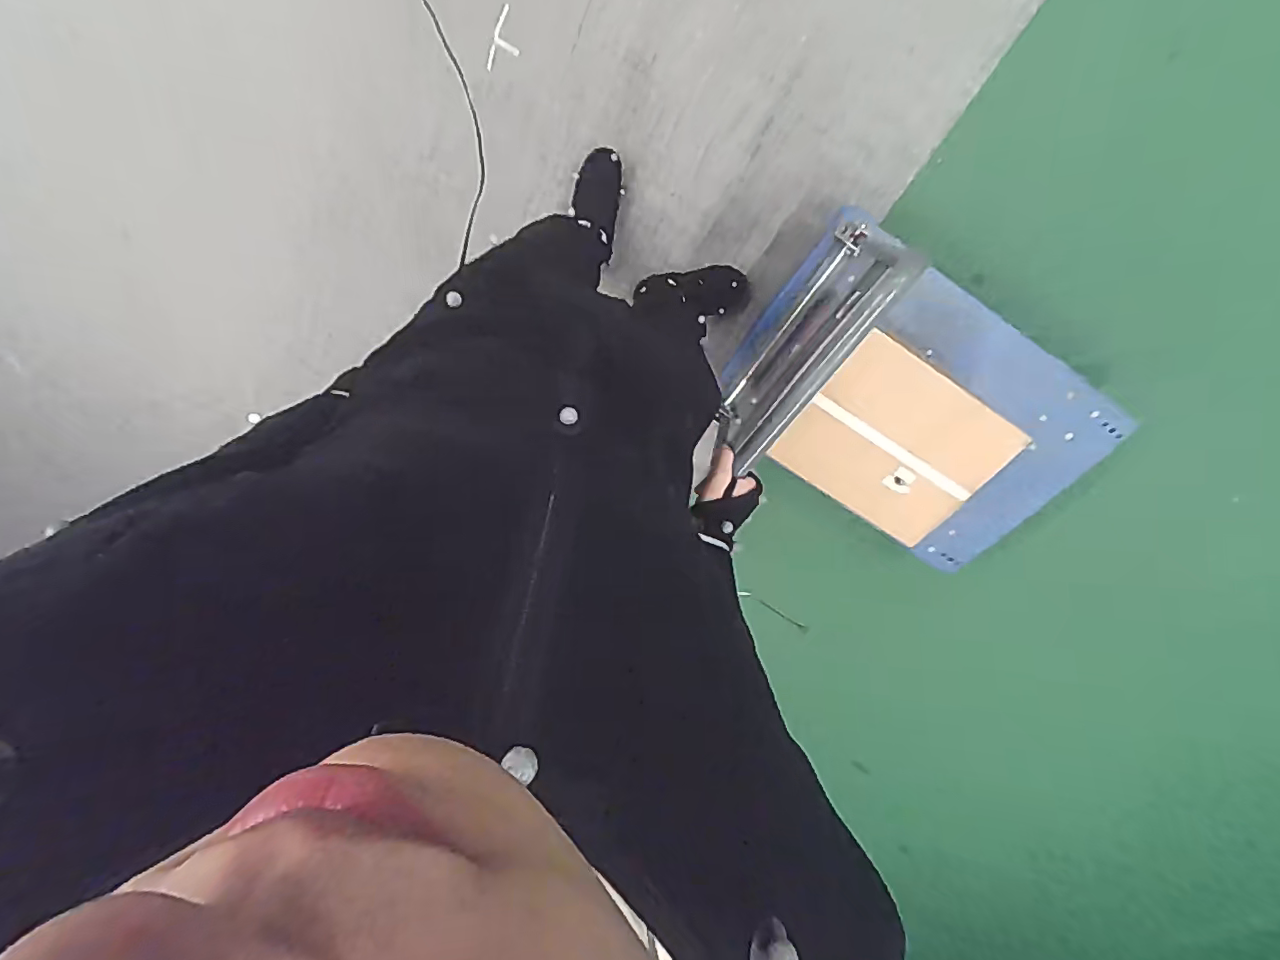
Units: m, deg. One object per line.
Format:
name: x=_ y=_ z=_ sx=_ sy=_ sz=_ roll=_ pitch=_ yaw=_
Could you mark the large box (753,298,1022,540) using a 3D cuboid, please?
large box: x=0.508 y=-0.147 z=1.207 sx=0.408 sy=0.320 sz=0.320 roll=32 pitch=119 yaw=-8
